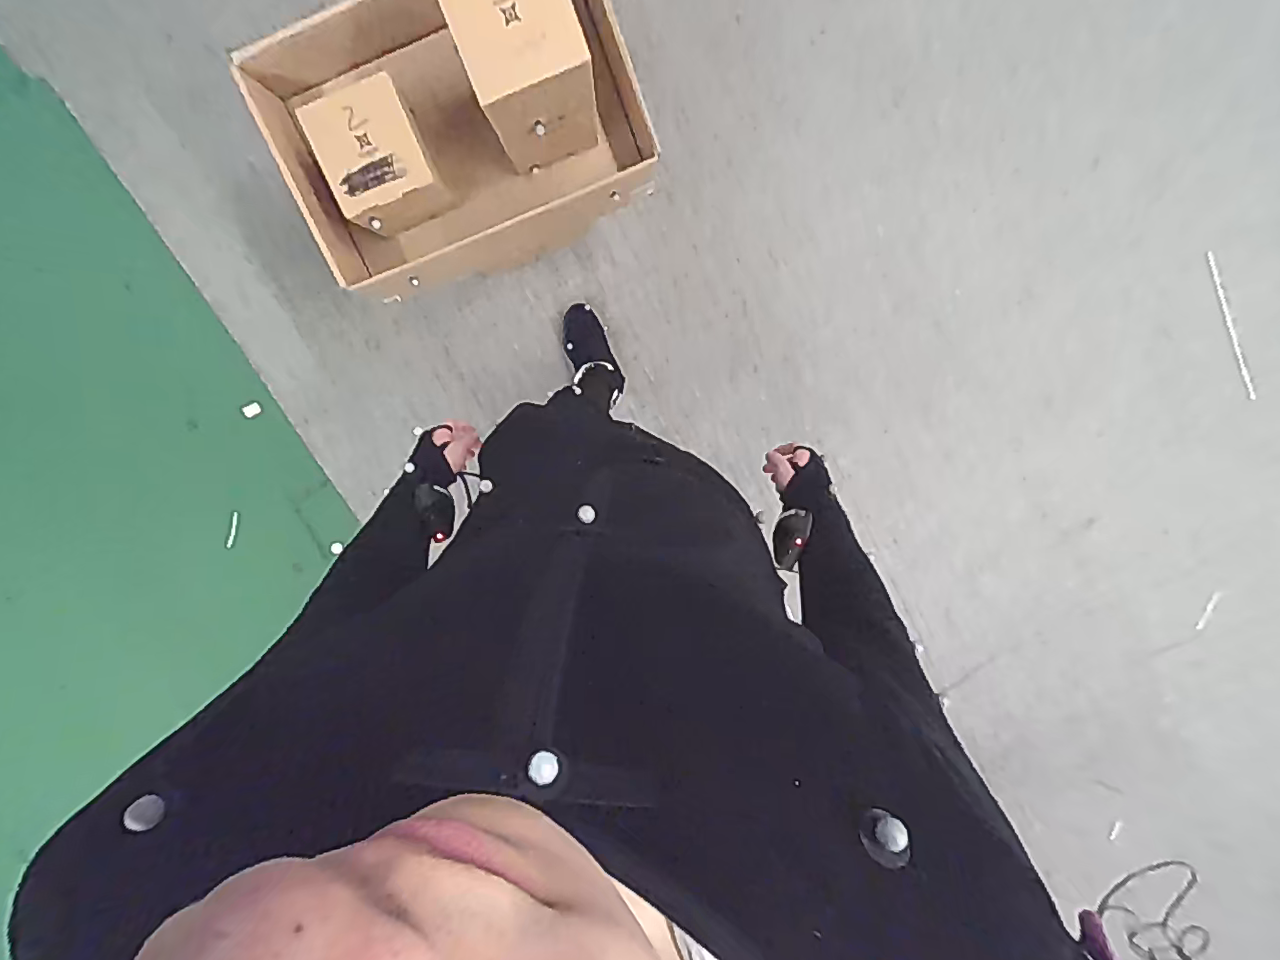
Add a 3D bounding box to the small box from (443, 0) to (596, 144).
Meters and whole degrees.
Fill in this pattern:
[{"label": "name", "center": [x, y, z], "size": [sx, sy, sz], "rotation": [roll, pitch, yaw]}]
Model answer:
[{"label": "small box", "center": [-0.170, -0.633, 0.785], "size": [0.168, 0.176, 0.179], "rotation": [-20, 104, 3]}]
